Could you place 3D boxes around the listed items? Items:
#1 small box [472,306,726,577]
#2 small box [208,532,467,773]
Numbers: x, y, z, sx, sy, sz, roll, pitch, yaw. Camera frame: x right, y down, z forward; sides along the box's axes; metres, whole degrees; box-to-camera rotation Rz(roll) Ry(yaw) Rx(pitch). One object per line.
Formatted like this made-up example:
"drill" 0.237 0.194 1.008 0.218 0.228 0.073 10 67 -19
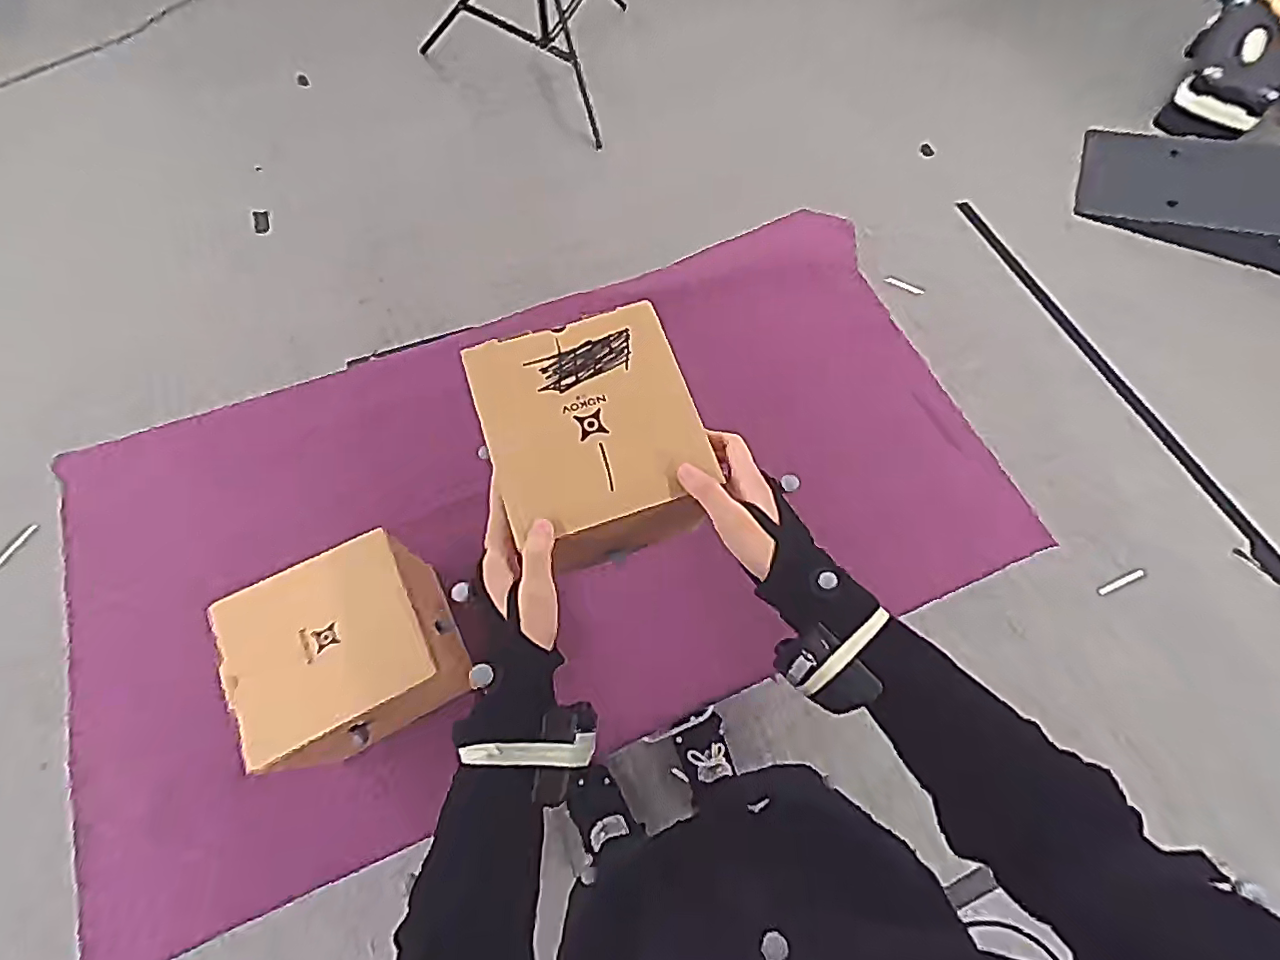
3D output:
"small box" -0.040 -0.025 0.507 0.168 0.176 0.179 -18 74 -8
"small box" -0.306 0.184 0.588 0.179 0.176 0.168 -27 71 -11
